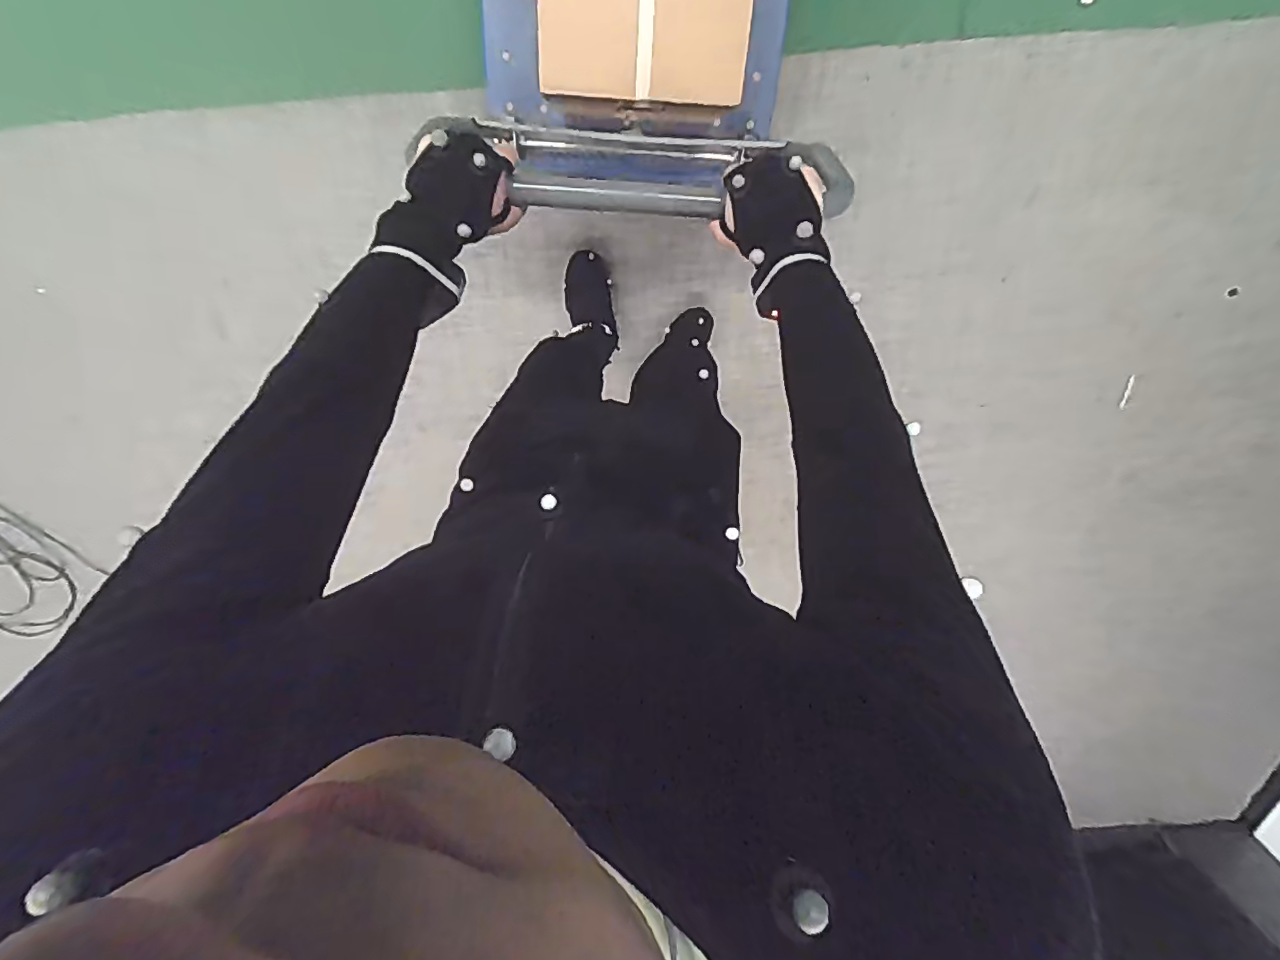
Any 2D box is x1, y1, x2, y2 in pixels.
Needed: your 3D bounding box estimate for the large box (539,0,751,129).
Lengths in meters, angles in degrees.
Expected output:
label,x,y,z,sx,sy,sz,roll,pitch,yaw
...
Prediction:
label,x,y,z,sx,sy,sz,roll,pitch,yaw
large box,0.012,-0.831,0.888,0.320,0.320,0.408,3,118,-3
